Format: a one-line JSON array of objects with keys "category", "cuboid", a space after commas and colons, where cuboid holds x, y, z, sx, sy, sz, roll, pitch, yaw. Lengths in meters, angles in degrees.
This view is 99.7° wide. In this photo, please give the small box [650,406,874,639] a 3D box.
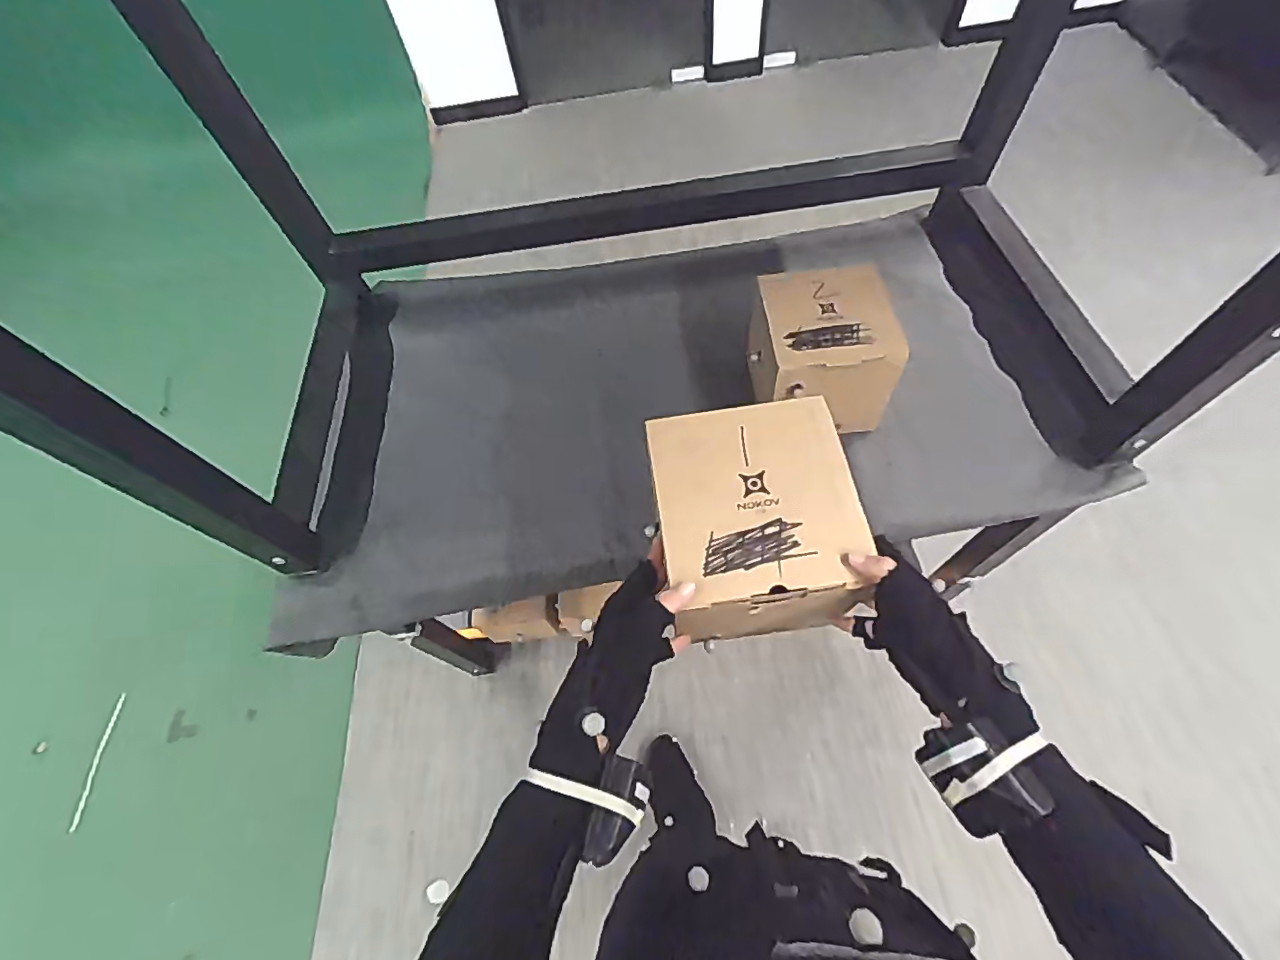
[{"category": "small box", "cuboid": [0.105, 0.053, 0.538, 0.168, 0.176, 0.179, -8, 62, 1]}]
